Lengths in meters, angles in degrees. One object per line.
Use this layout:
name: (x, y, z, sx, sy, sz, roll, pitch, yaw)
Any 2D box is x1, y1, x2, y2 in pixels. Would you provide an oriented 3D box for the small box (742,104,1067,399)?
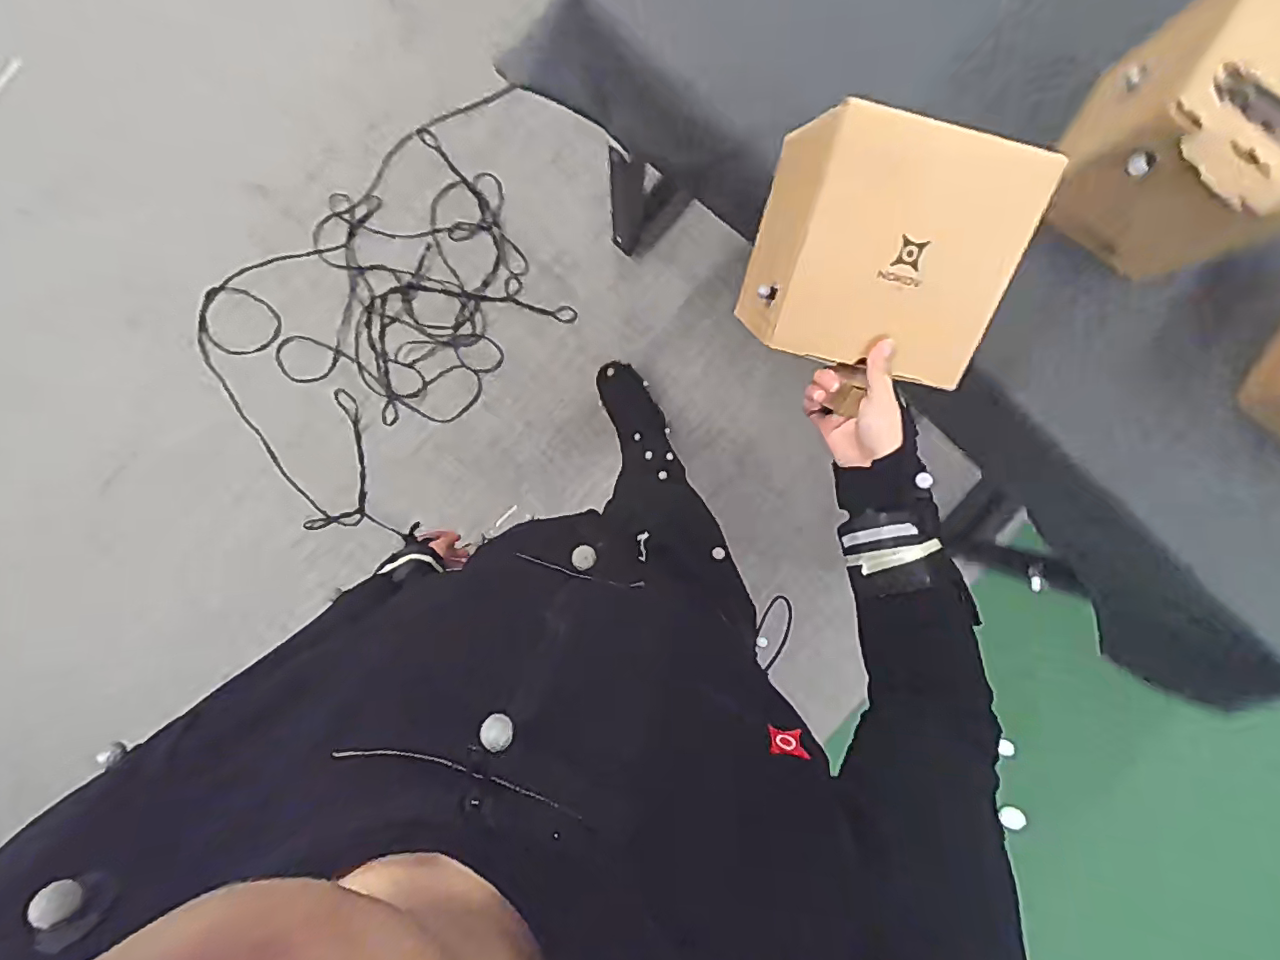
small box: (0.200, -0.193, 0.474, 0.168, 0.176, 0.179, 11, 116, -6)

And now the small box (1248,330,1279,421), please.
small box: (0.812, -0.122, 0.558, 0.168, 0.176, 0.179, 34, 90, -5)
